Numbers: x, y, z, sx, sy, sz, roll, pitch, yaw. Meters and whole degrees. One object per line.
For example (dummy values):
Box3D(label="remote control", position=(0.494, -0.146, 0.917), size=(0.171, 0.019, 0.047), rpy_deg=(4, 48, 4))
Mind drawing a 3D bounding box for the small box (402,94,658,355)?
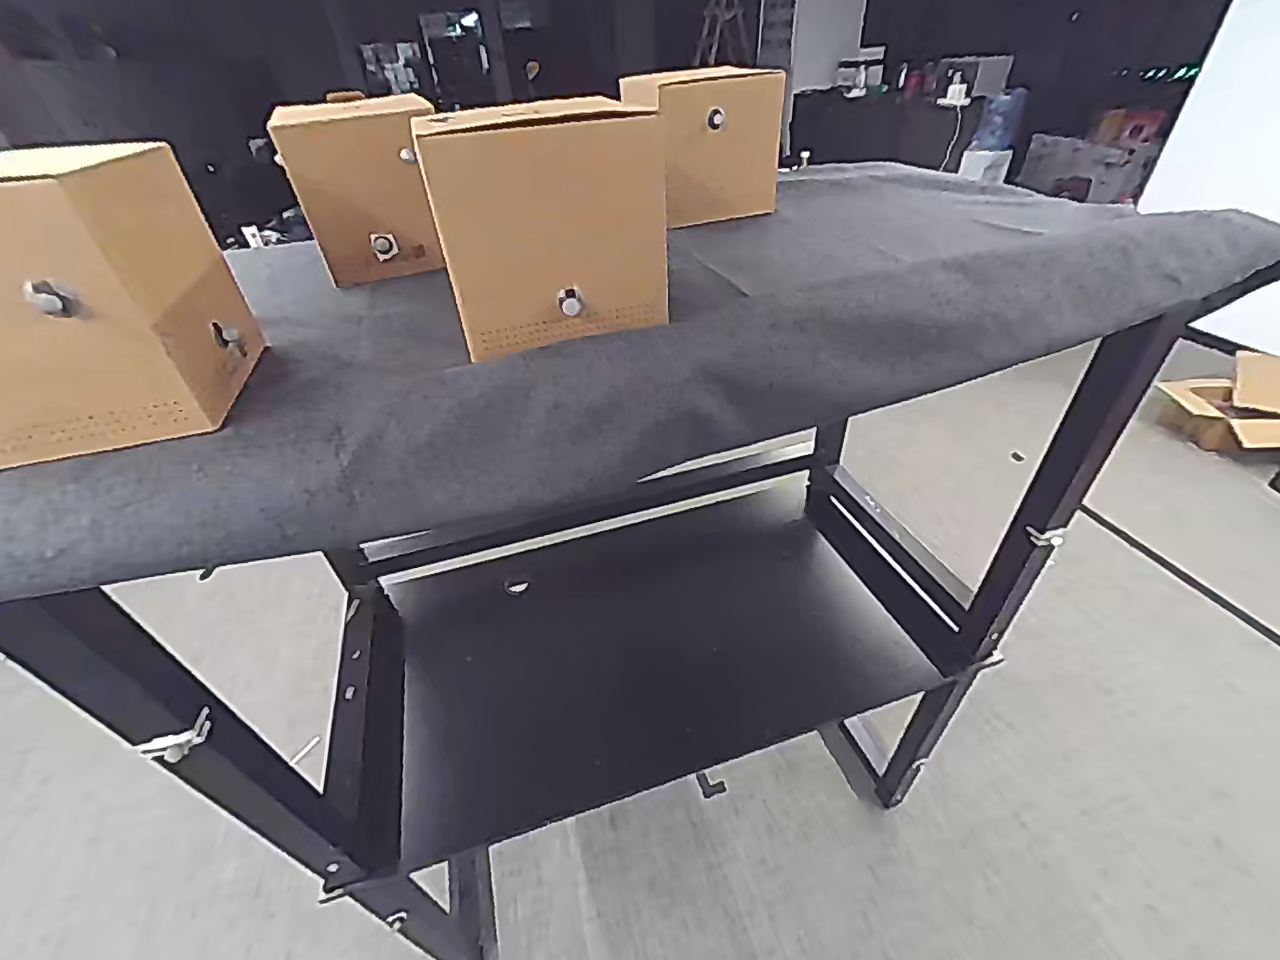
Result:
Box3D(label="small box", position=(-0.091, -0.228, 0.473), size=(0.179, 0.176, 0.168), rpy_deg=(-14, 38, -13))

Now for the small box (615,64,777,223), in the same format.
Box3D(label="small box", position=(0.075, -0.478, 0.769), size=(0.179, 0.176, 0.168), rpy_deg=(-14, 40, -12))

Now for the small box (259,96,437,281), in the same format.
Box3D(label="small box", position=(-0.328, -0.360, 0.664), size=(0.168, 0.176, 0.179), rpy_deg=(-20, 41, -16))
